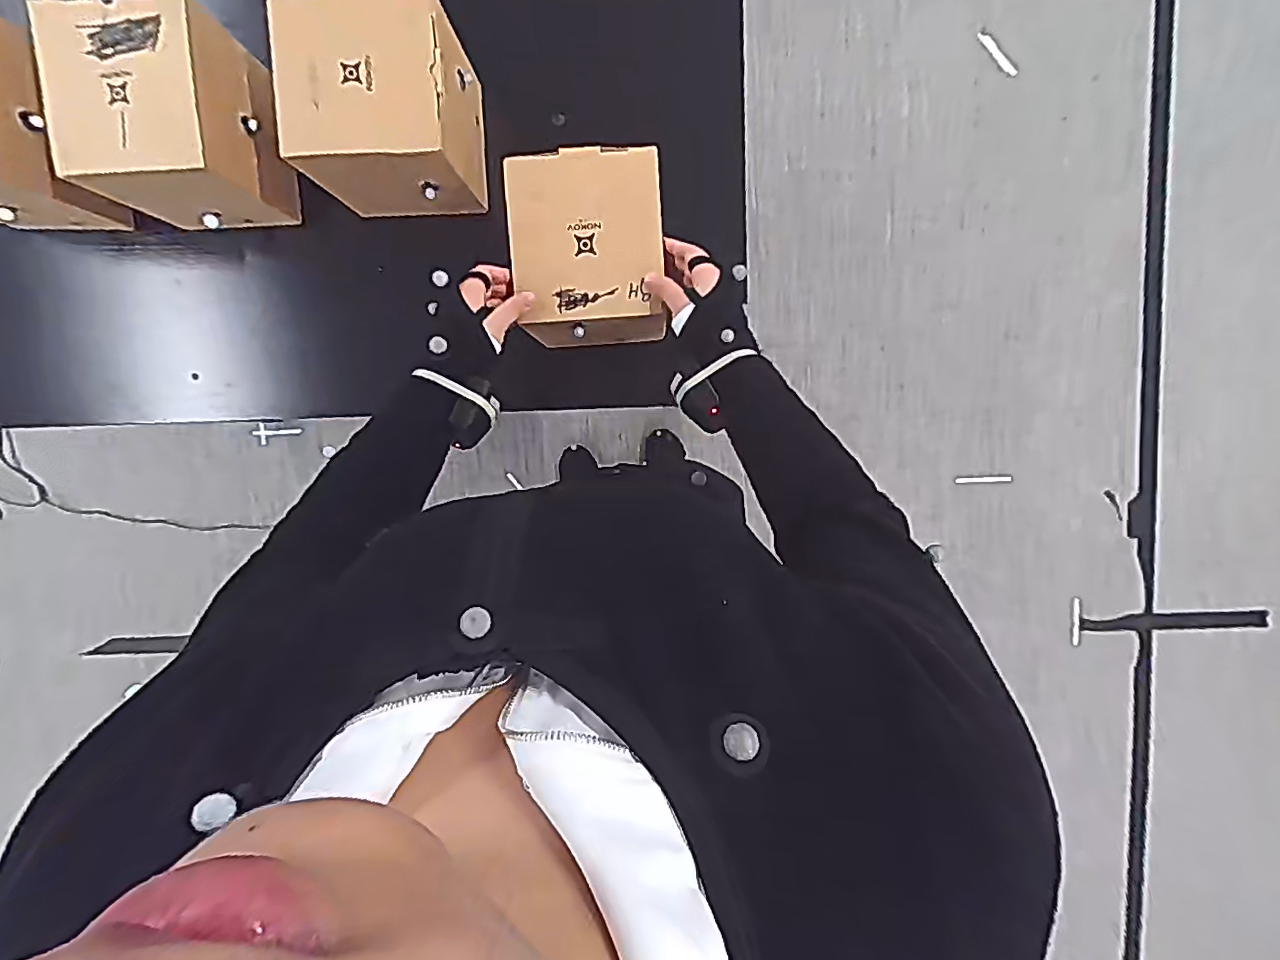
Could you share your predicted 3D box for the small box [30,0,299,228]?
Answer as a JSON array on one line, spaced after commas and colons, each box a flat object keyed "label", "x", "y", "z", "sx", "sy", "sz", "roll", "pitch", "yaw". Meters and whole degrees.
[{"label": "small box", "x": -0.544, "y": -0.423, "z": 0.646, "sx": 0.168, "sy": 0.176, "sz": 0.179, "roll": -3, "pitch": 97, "yaw": 0}]

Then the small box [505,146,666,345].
[{"label": "small box", "x": -0.057, "y": -0.269, "z": 0.657, "sx": 0.168, "sy": 0.176, "sz": 0.179, "roll": -3, "pitch": 96, "yaw": 2}]

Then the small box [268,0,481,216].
[{"label": "small box", "x": -0.296, "y": -0.433, "z": 0.645, "sx": 0.179, "sy": 0.176, "sz": 0.168, "roll": -2, "pitch": 94, "yaw": 2}]

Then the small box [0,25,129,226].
[{"label": "small box", "x": -0.769, "y": -0.422, "z": 0.649, "sx": 0.168, "sy": 0.176, "sz": 0.179, "roll": 1, "pitch": 95, "yaw": -1}]
